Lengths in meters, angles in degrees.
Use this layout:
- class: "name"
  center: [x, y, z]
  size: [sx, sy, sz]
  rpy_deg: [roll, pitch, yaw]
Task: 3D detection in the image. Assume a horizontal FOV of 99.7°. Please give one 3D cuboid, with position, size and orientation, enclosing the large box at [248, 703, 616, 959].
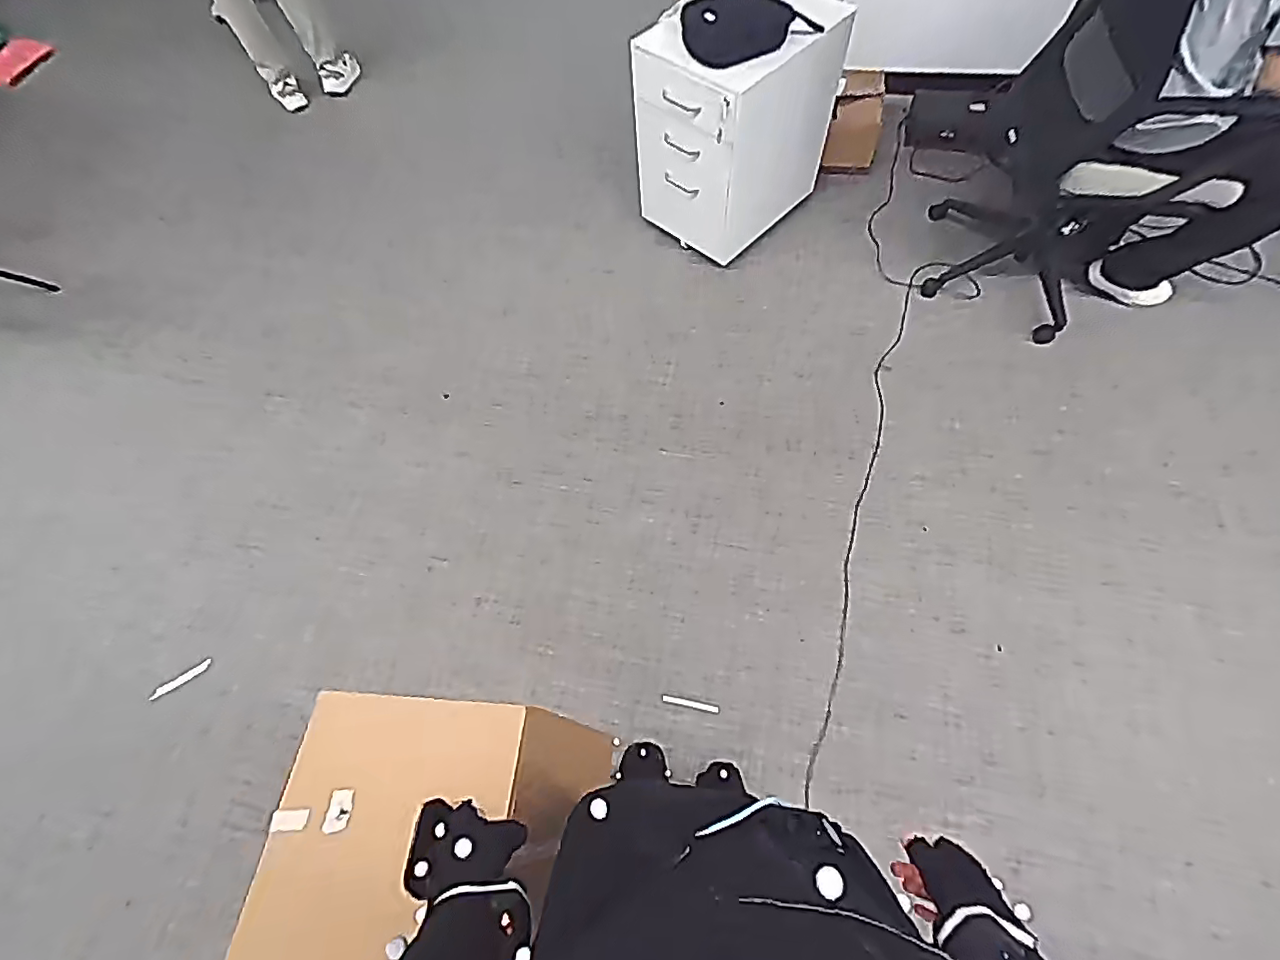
- class: "large box"
  center: [-0.250, 0.526, 0.801]
  size: [0.320, 0.408, 0.320]
  rpy_deg: [1, 61, 15]
